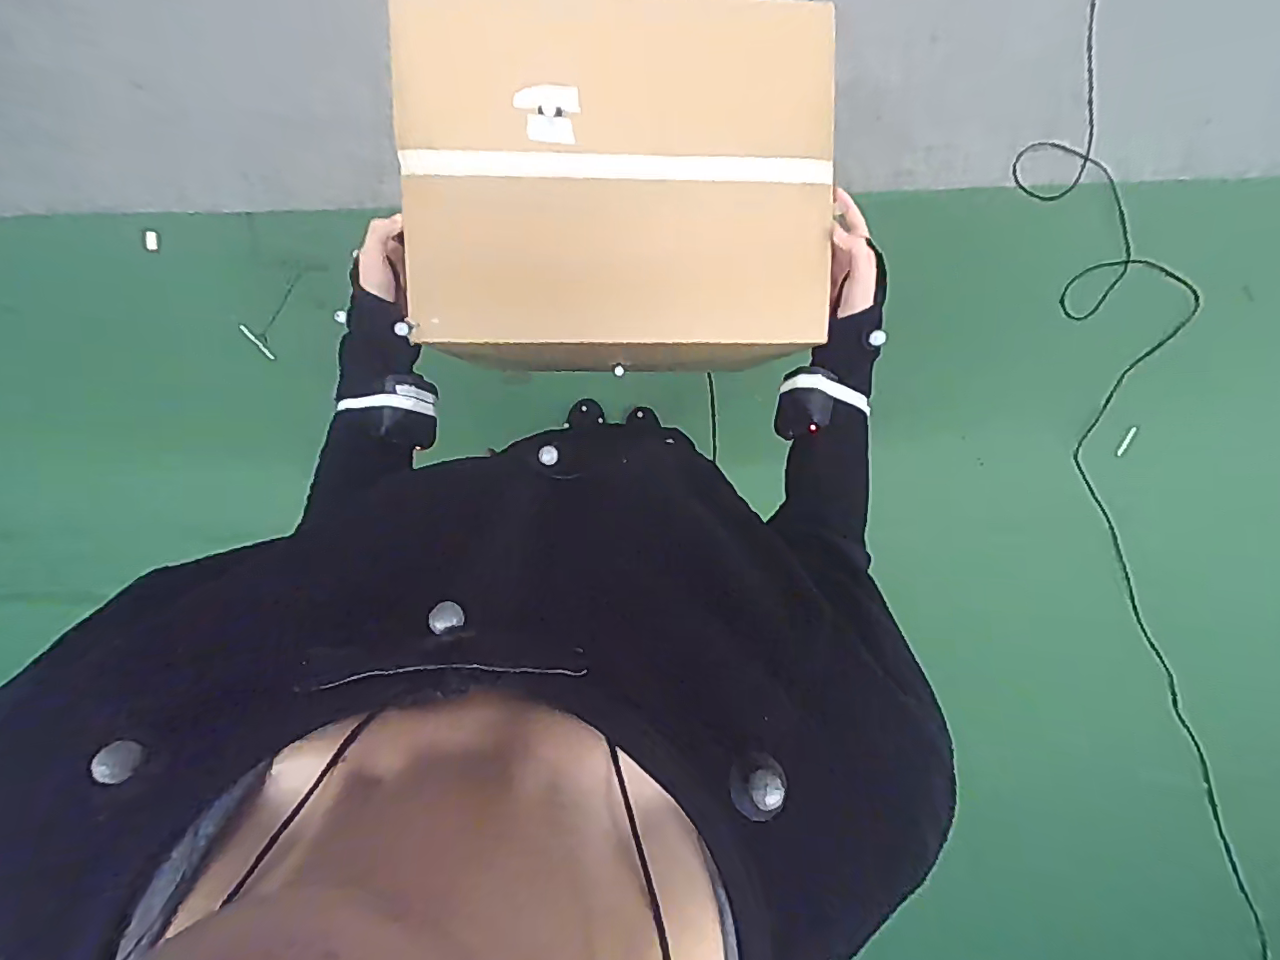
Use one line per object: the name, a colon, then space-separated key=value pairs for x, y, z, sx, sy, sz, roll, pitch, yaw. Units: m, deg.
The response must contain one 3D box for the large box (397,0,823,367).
large box: x=-0.028 y=-0.307 z=0.665 sx=0.408 sy=0.320 sz=0.320 roll=-1 pitch=96 yaw=-4
